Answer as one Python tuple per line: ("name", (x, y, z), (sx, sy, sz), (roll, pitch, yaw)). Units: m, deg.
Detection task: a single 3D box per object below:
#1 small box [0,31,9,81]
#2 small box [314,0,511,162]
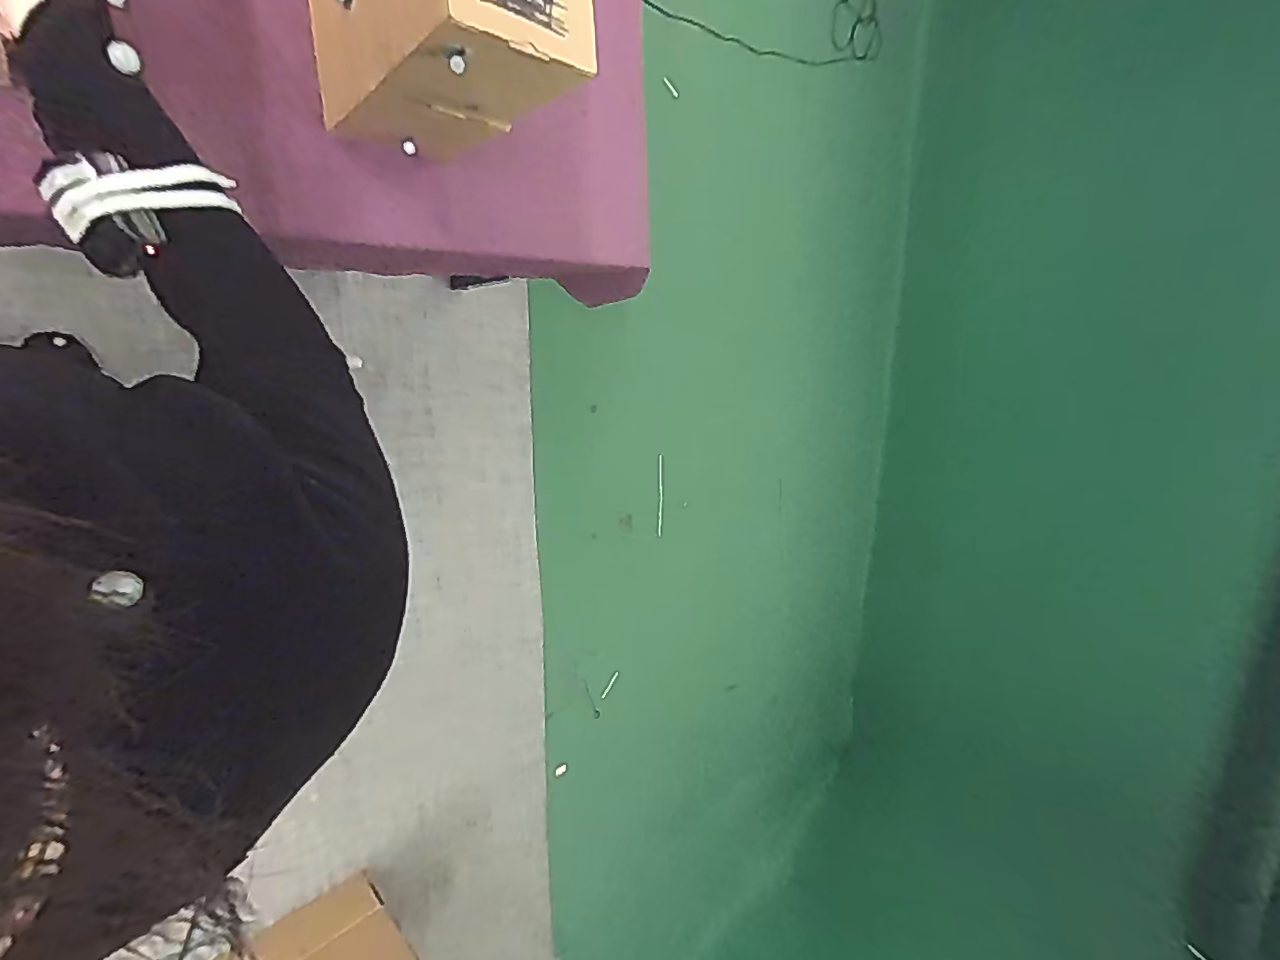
("small box", (-0.580, -0.410, 0.365), (0.168, 0.176, 0.179), (-19, 111, -43))
("small box", (-0.276, -0.518, 0.655), (0.168, 0.176, 0.179), (-14, 109, -43))
